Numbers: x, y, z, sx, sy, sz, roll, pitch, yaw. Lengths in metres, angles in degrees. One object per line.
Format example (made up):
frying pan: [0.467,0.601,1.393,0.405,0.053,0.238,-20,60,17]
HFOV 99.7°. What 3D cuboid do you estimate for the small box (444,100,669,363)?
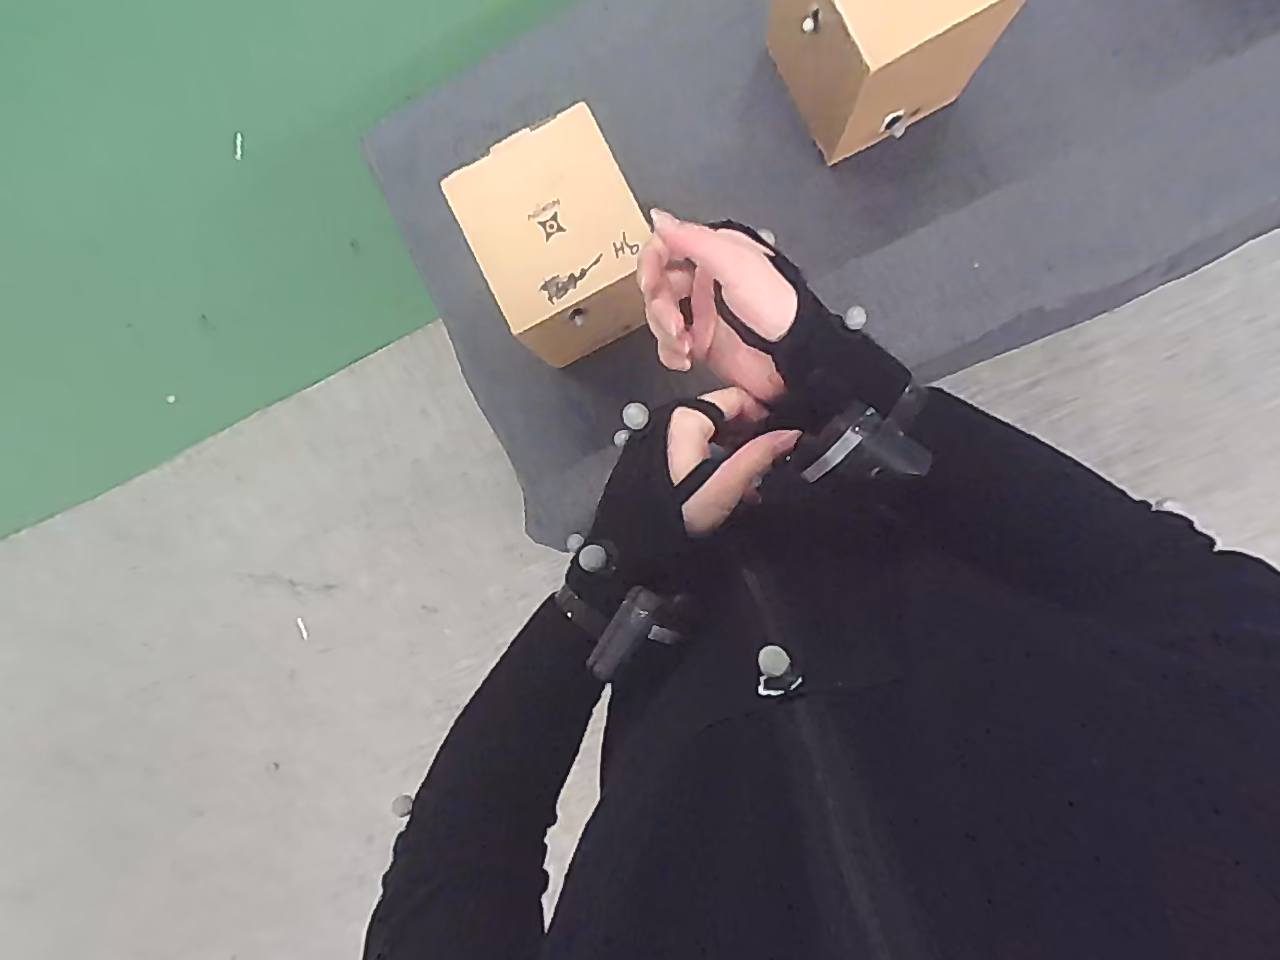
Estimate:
small box: [-0.078,-0.255,0.601,0.168,0.176,0.179,-26,88,6]

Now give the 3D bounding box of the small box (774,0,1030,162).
small box: [0.256,-0.486,0.565,0.168,0.176,0.179,-26,90,7]
